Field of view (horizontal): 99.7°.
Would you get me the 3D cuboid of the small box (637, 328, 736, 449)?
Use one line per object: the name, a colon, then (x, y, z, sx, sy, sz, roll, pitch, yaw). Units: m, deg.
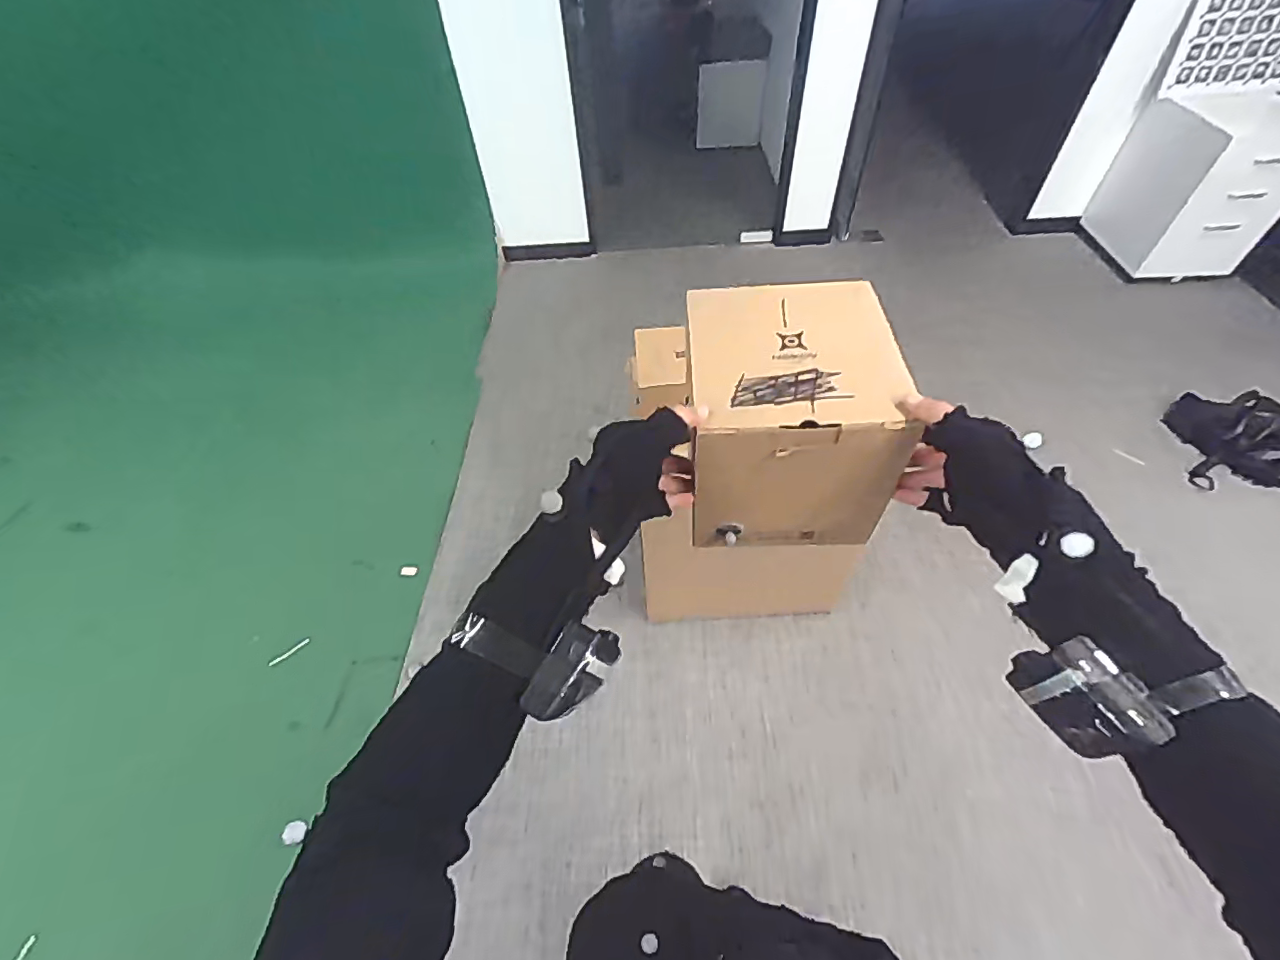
small box: (0.089, -0.180, 1.086, 0.179, 0.176, 0.168, -5, 53, 1)

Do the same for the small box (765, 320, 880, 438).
small box: (0.350, -0.196, 1.080, 0.179, 0.176, 0.168, -2, 55, 2)
